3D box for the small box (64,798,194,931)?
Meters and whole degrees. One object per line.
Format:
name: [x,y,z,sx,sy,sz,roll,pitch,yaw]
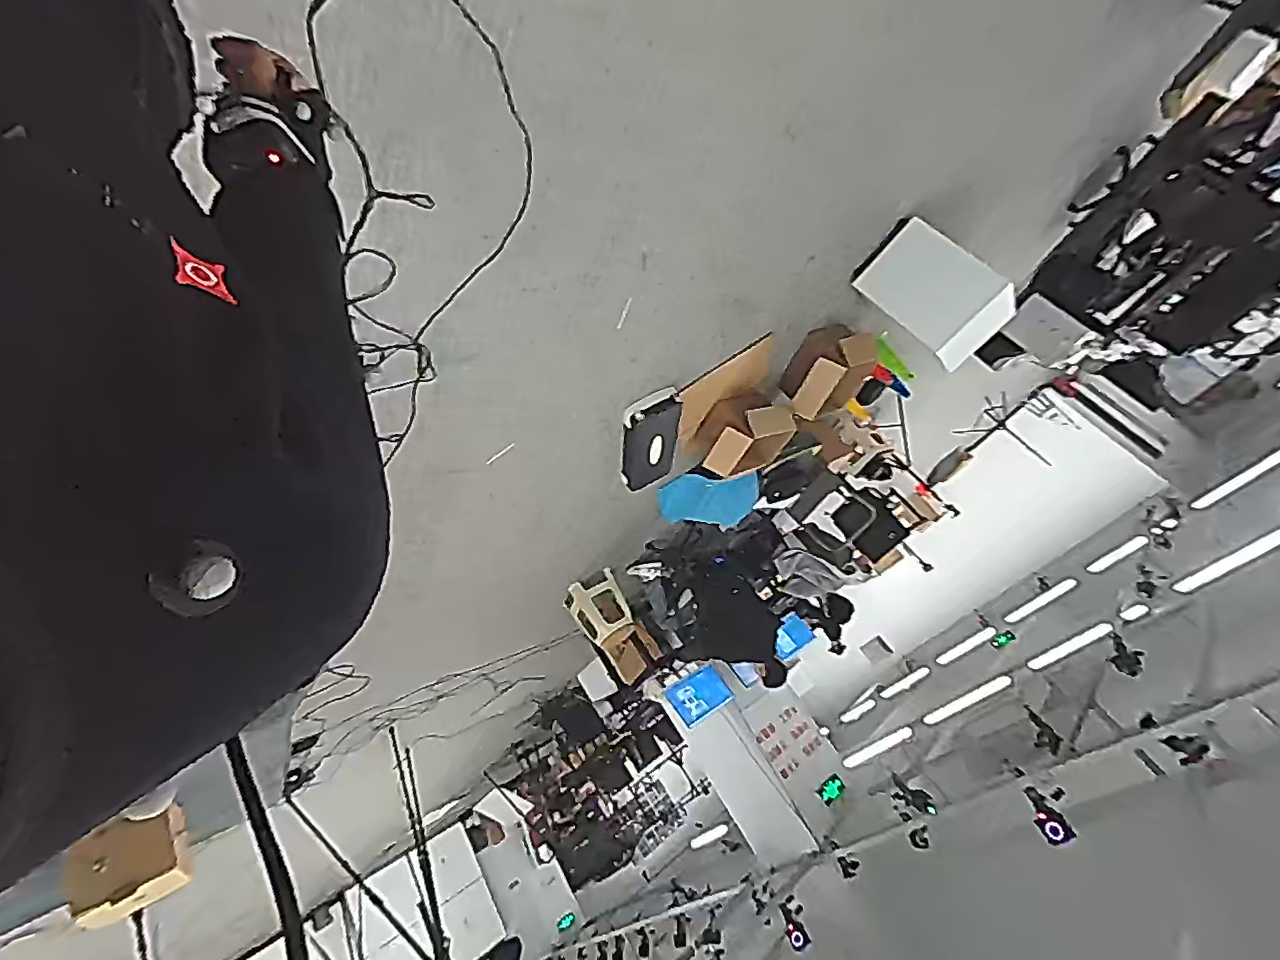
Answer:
small box: [-1.112,0.833,1.182,0.168,0.176,0.179,-16,150,-36]
